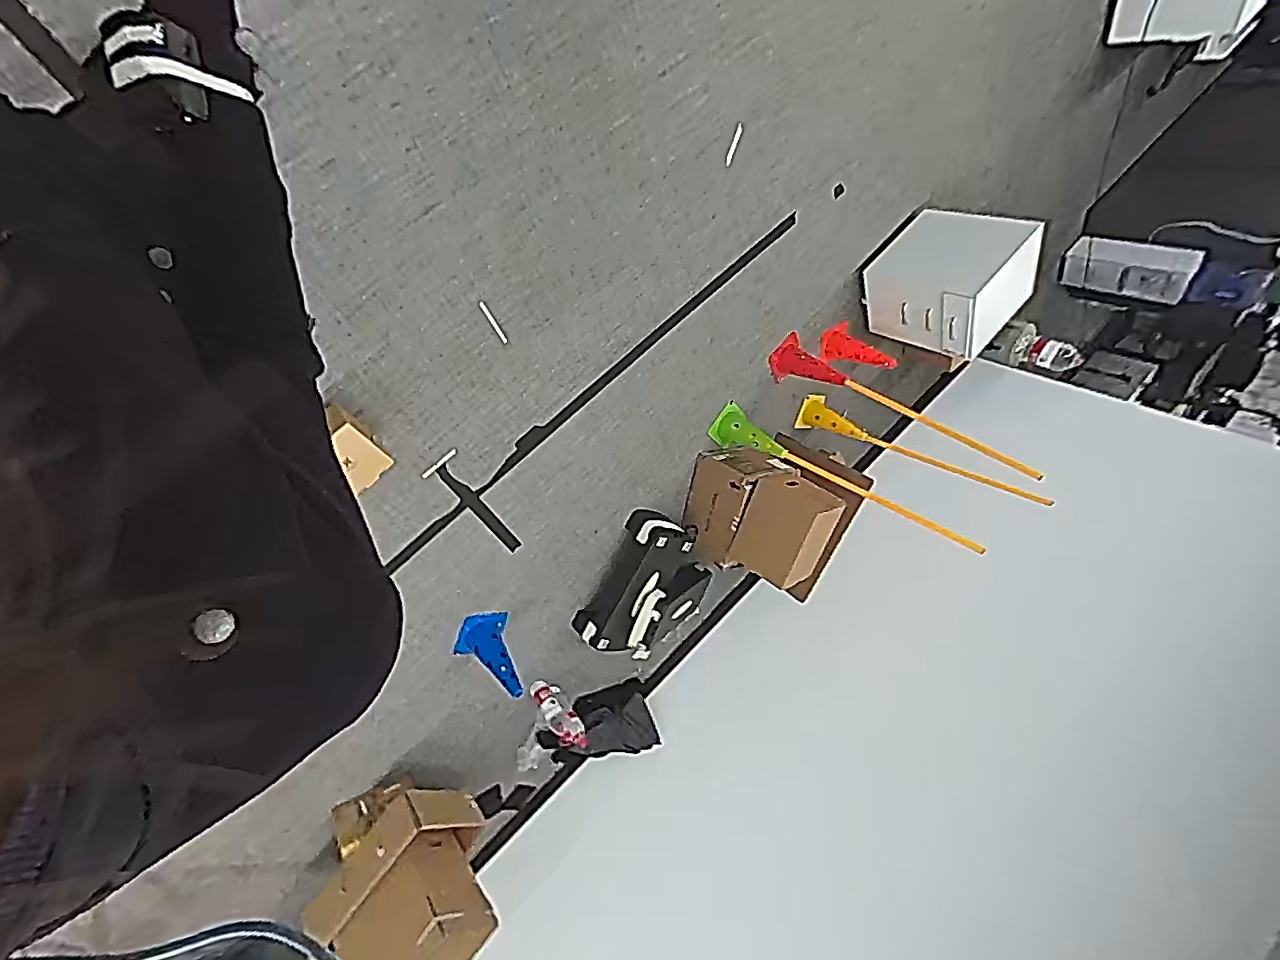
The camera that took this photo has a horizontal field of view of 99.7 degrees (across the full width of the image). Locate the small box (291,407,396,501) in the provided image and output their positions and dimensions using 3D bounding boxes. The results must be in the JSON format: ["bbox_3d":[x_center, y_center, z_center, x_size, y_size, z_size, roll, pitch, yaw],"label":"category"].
[{"bbox_3d":[-0.821,-0.081,1.491,0.168,0.176,0.179,-45,138,-9],"label":"small box"}]
